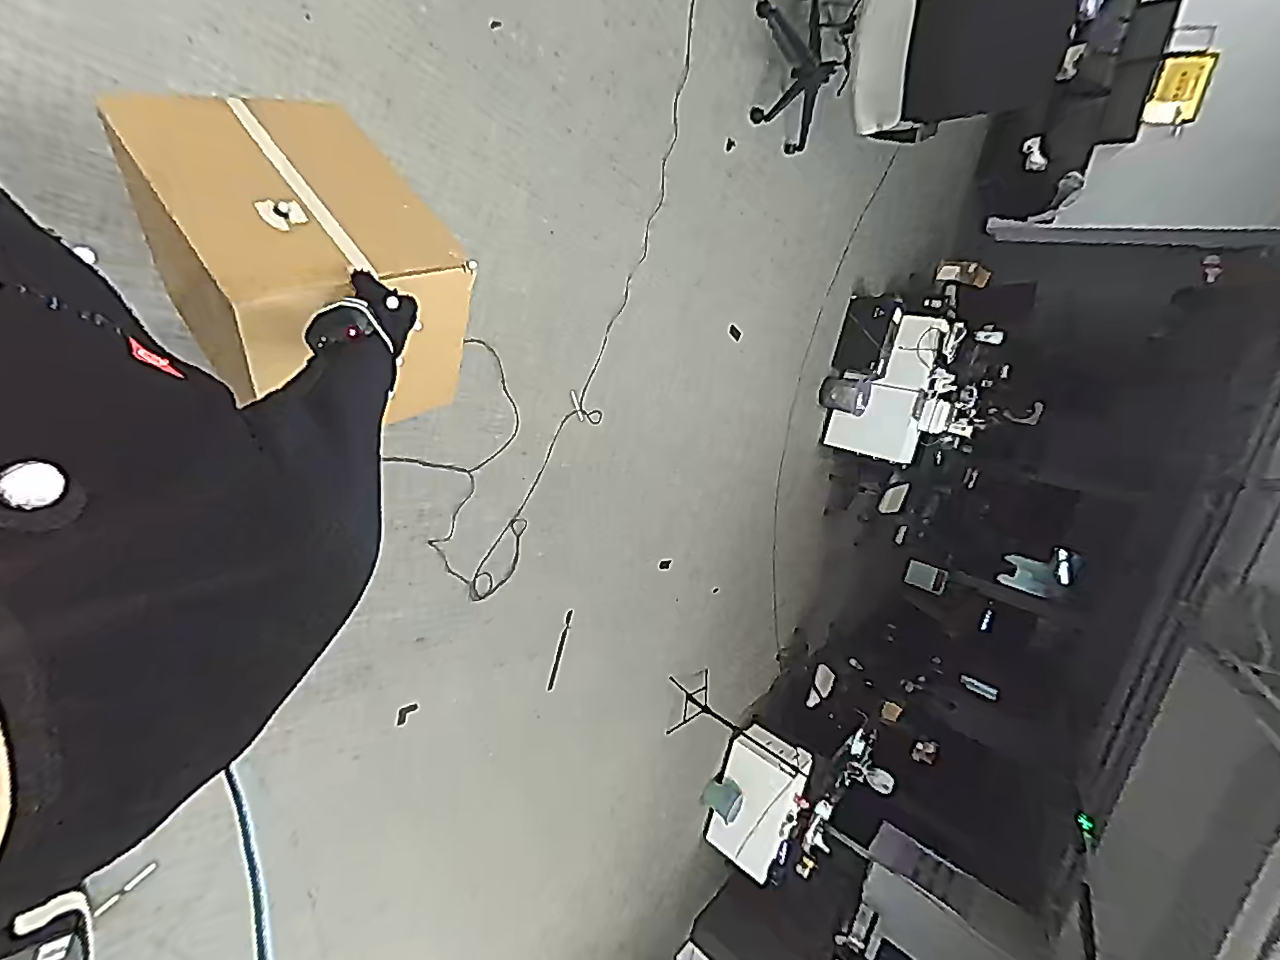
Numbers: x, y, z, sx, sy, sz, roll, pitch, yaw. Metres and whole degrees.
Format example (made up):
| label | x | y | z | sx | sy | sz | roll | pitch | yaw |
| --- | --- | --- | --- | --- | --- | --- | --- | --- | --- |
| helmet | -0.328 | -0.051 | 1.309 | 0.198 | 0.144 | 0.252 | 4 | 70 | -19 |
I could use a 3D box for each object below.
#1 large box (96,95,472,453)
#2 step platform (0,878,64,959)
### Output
| label | x | y | z | sx | sy | sz | roll | pitch | yaw |
| --- | --- | --- | --- | --- | --- | --- | --- | --- | --- |
| large box | -0.532 | -0.320 | 0.856 | 0.320 | 0.408 | 0.320 | -29 | 164 | -38 |
| step platform | -1.522 | 1.063 | 0.960 | 0.684 | 0.204 | 0.286 | -1 | 107 | -51 |
